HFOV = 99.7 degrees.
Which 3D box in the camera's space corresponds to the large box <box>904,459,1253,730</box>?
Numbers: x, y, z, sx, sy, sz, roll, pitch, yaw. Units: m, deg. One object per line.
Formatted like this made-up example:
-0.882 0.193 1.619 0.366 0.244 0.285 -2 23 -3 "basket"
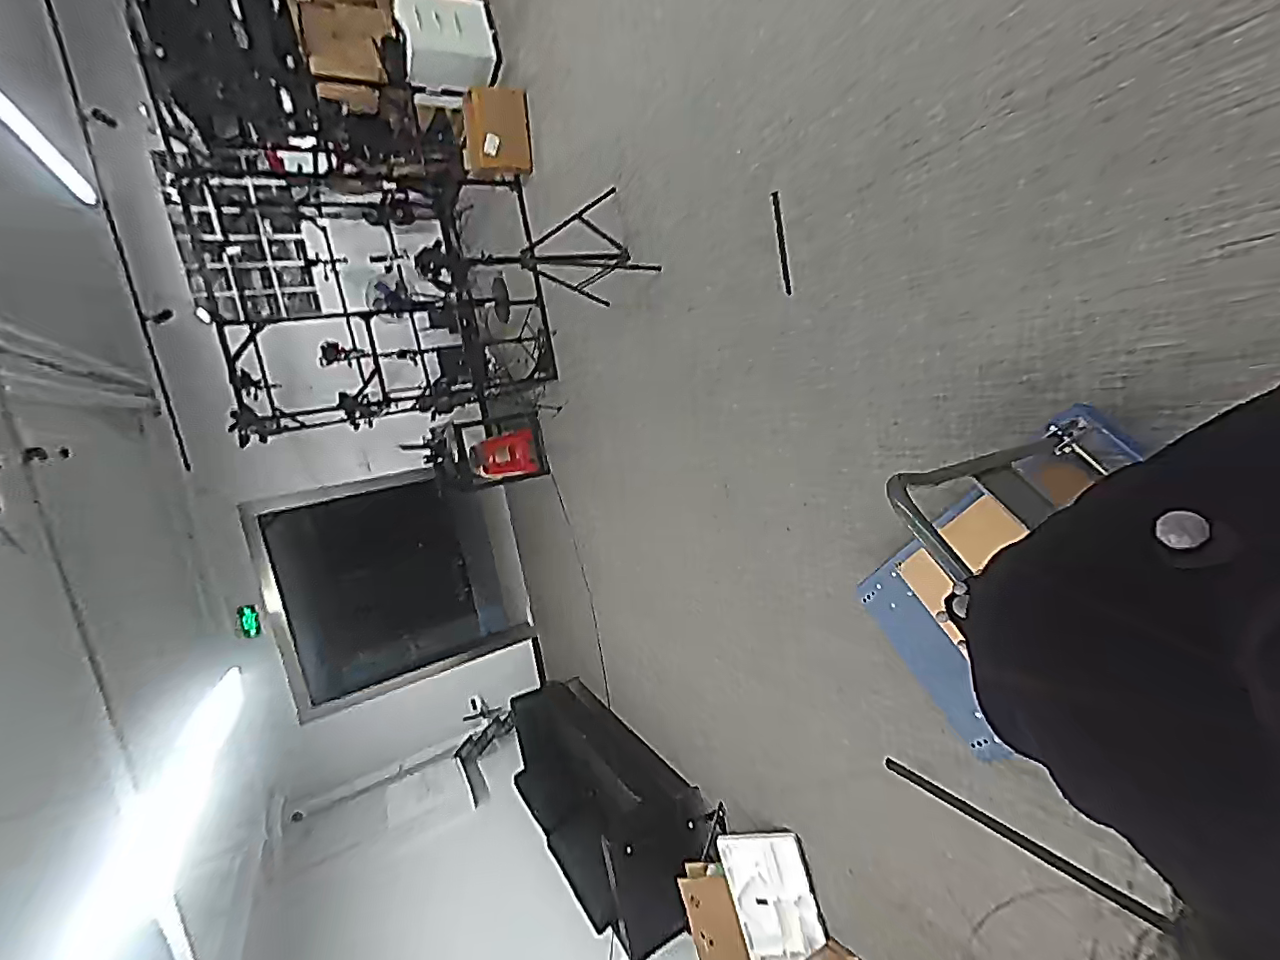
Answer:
0.866 0.224 1.119 0.408 0.320 0.320 60 149 29 "large box"
